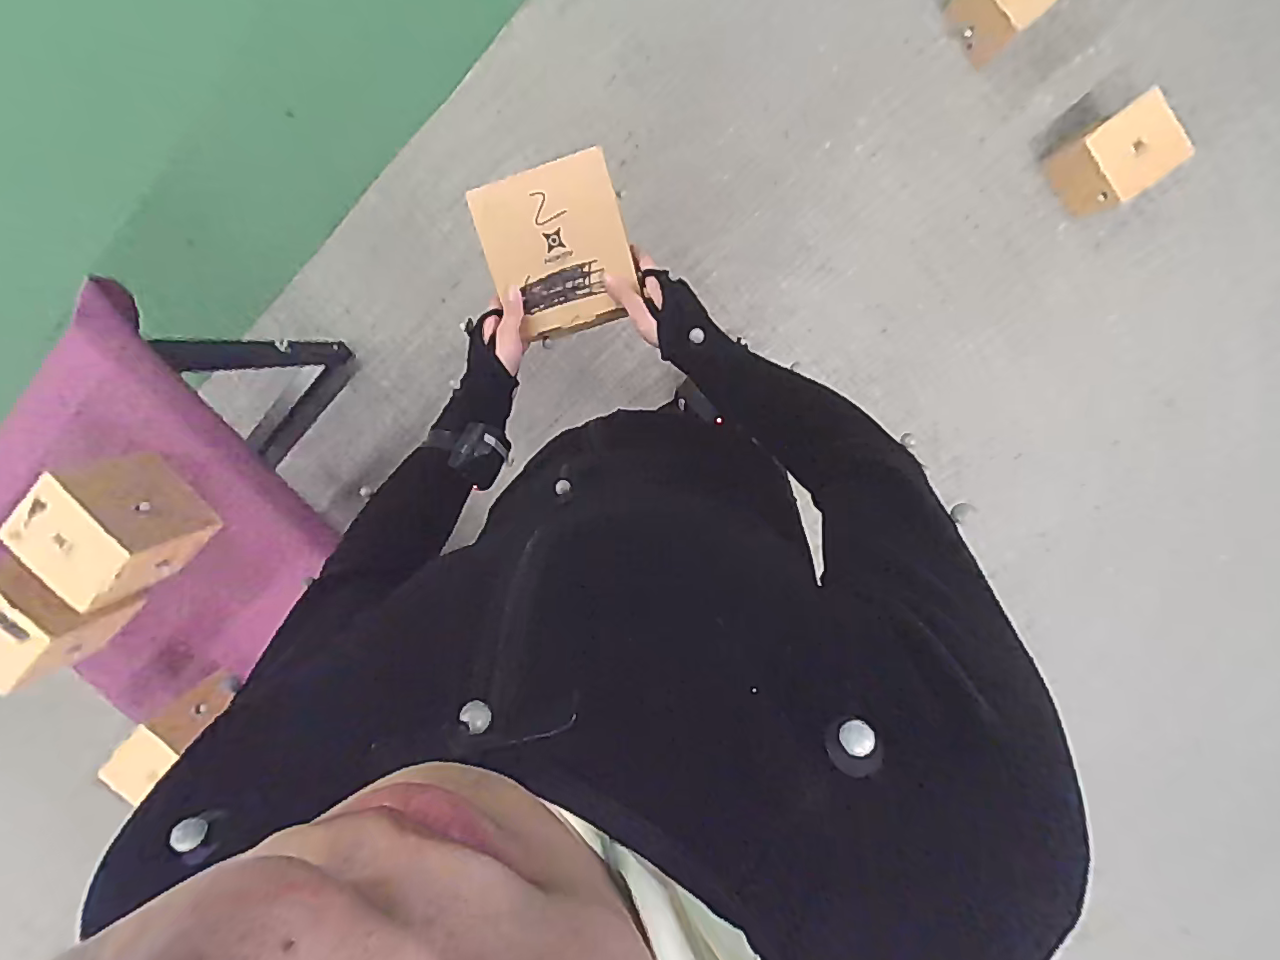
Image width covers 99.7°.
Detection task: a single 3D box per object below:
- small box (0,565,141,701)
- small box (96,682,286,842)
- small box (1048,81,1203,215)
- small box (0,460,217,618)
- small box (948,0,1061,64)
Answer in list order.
[{"bbox_3d":[-1.063,0.245,0.969,0.179,0.176,0.168,-40,96,14],"label":"small box"},{"bbox_3d":[-0.821,0.508,1.006,0.168,0.176,0.179,-43,96,14],"label":"small box"},{"bbox_3d":[1.096,-0.744,1.238,0.168,0.176,0.179,-38,98,13],"label":"small box"},{"bbox_3d":[-0.877,0.088,0.909,0.168,0.176,0.179,-39,97,14],"label":"small box"},{"bbox_3d":[0.826,-1.080,1.185,0.179,0.176,0.168,-38,96,13],"label":"small box"}]
